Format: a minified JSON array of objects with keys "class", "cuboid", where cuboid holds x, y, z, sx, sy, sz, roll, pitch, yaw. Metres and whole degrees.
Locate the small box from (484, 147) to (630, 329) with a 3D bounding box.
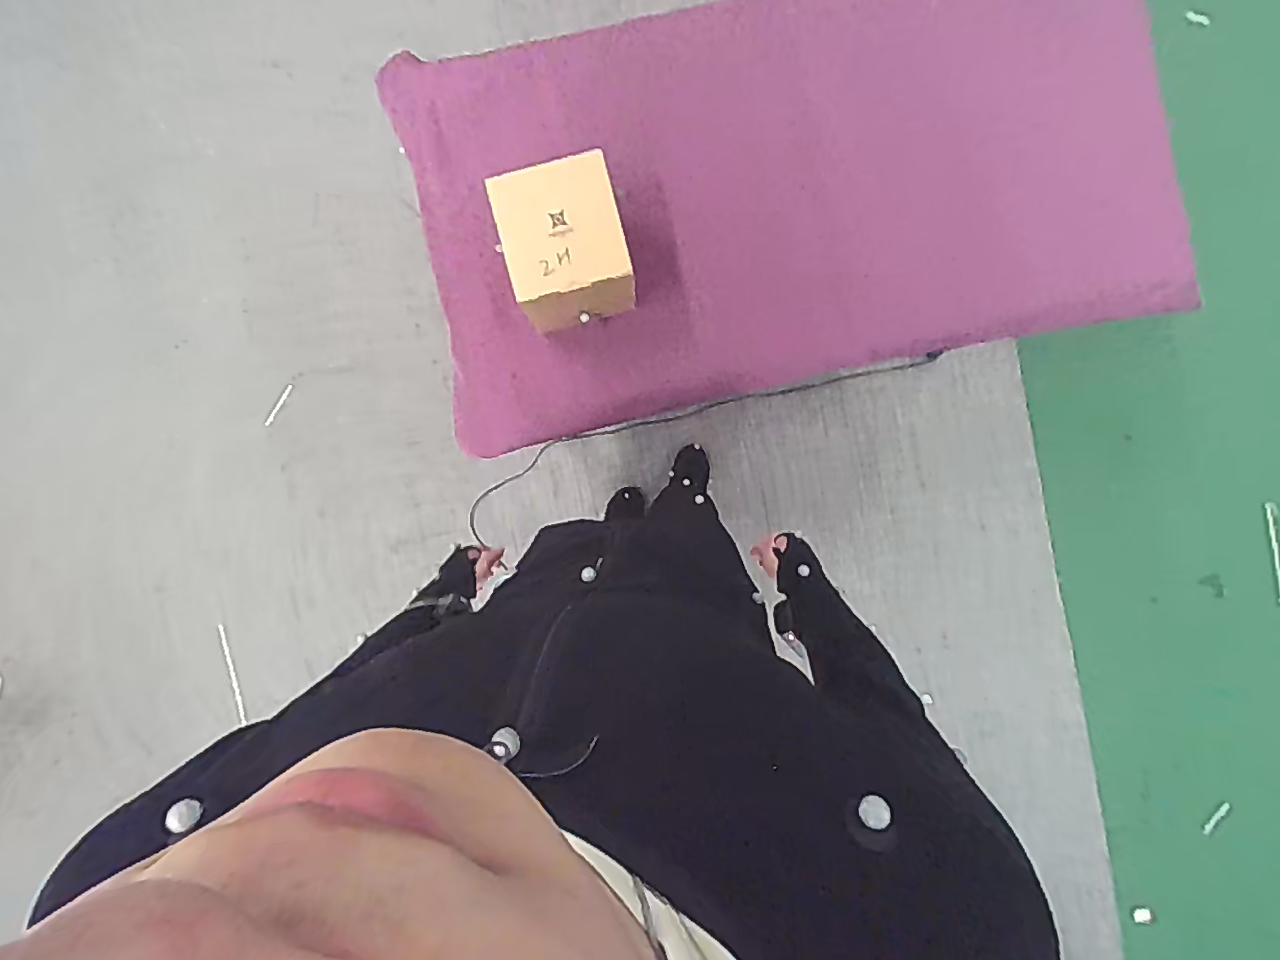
[{"class":"small box","cuboid":[-0.114,-0.348,0.809,0.168,0.176,0.179,-15,91,1]}]
